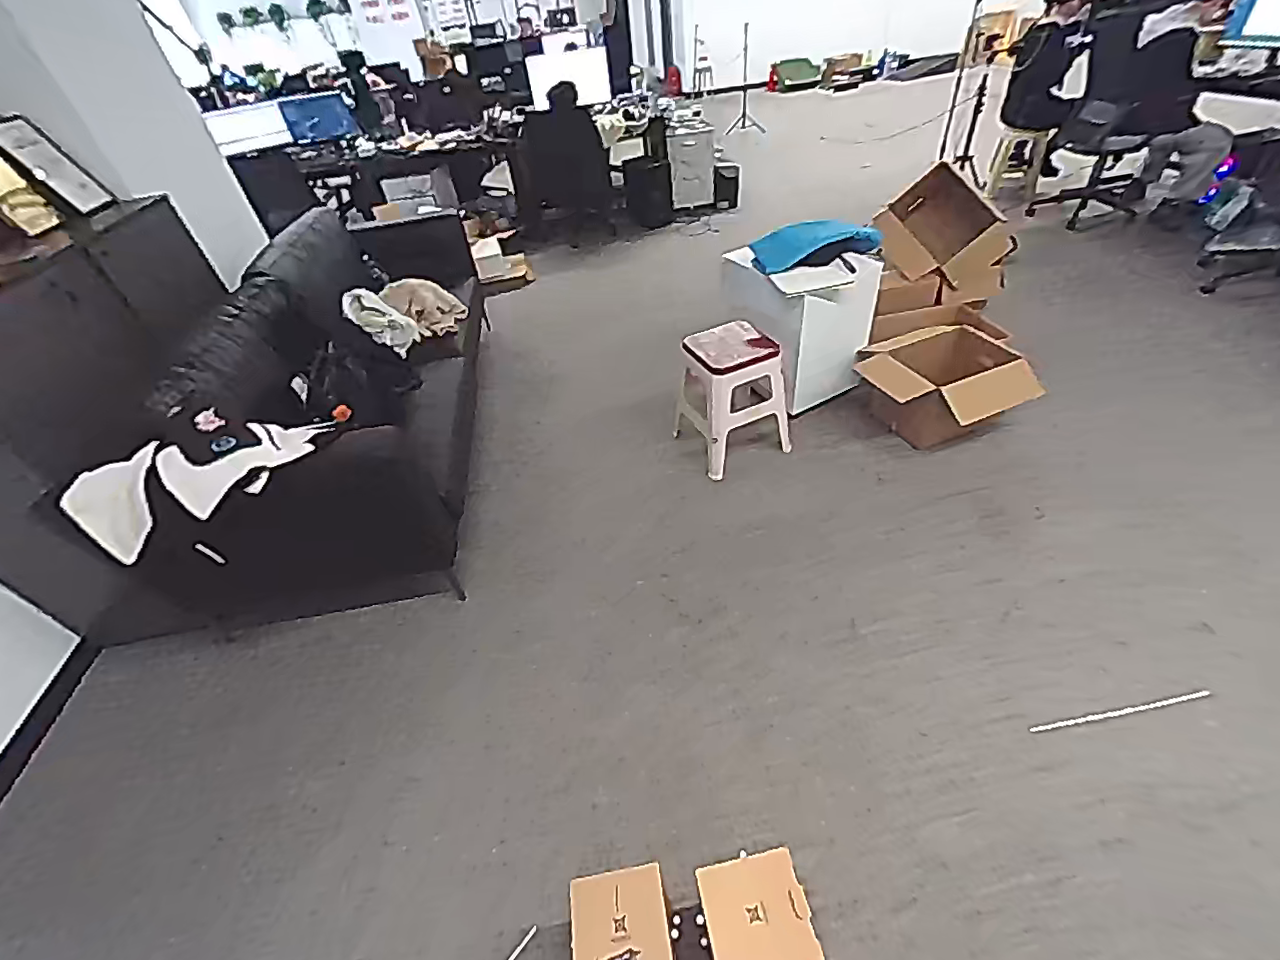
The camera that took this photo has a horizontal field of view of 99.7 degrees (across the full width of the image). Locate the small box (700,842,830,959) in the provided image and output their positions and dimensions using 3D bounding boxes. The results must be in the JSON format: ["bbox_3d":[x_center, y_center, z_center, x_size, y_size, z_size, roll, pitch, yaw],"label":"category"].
[{"bbox_3d":[0.215,0.782,0.965,0.179,0.176,0.168,-12,43,-4],"label":"small box"}]
